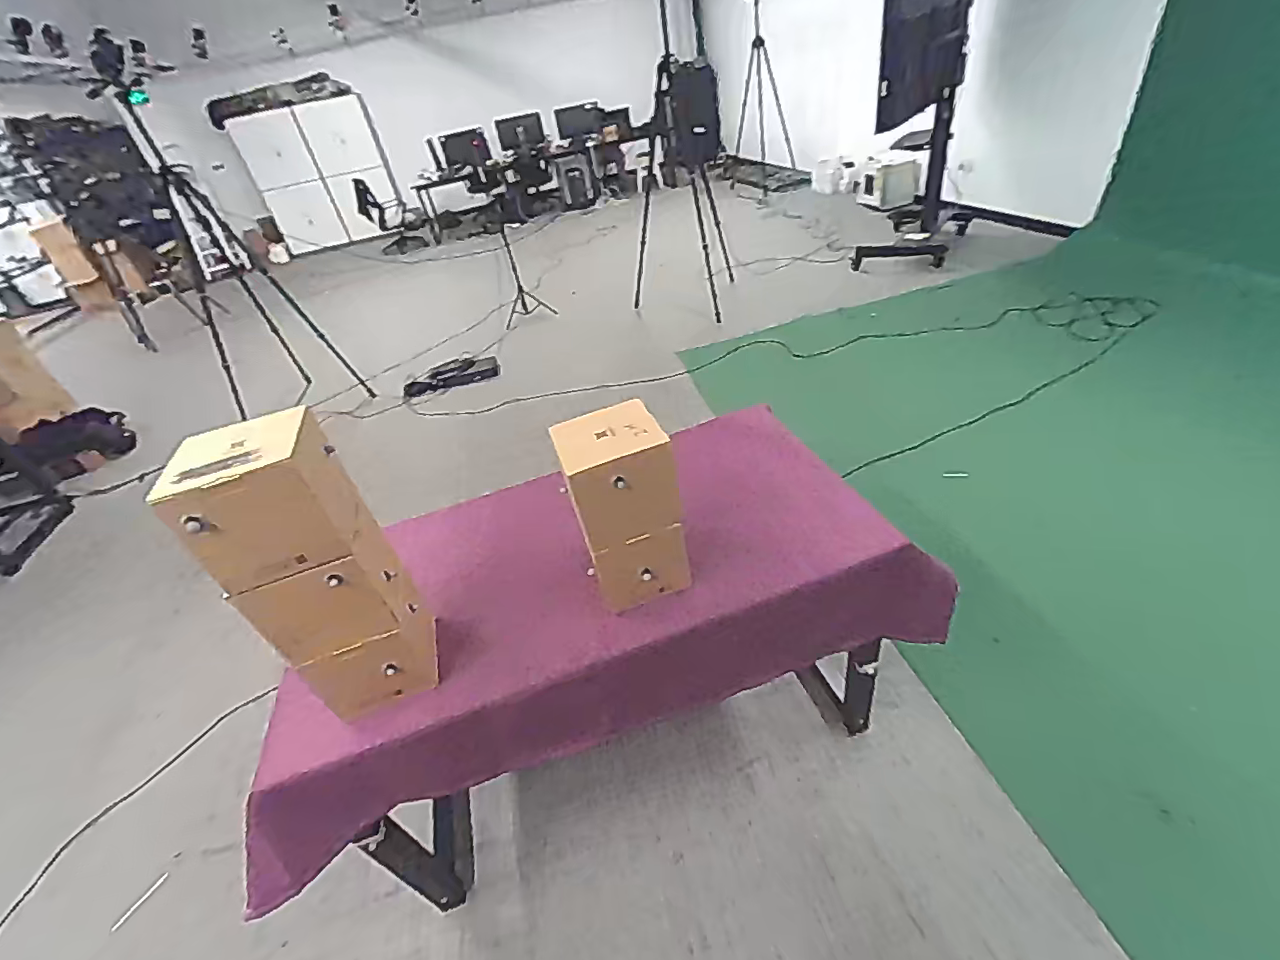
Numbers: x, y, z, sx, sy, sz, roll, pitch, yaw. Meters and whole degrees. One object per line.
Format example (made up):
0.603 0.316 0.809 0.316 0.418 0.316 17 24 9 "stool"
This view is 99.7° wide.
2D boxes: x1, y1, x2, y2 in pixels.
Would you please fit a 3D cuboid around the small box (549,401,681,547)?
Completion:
-0.042 -0.009 0.944 0.179 0.176 0.168 -18 38 -9 "small box"

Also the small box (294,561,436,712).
-0.473 0.281 0.959 0.168 0.176 0.179 -18 37 -10 "small box"

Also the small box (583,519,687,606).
-0.018 0.120 1.045 0.168 0.176 0.179 -18 38 -8 "small box"

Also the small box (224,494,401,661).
-0.503 0.155 0.862 0.179 0.176 0.168 -19 38 -12 "small box"
